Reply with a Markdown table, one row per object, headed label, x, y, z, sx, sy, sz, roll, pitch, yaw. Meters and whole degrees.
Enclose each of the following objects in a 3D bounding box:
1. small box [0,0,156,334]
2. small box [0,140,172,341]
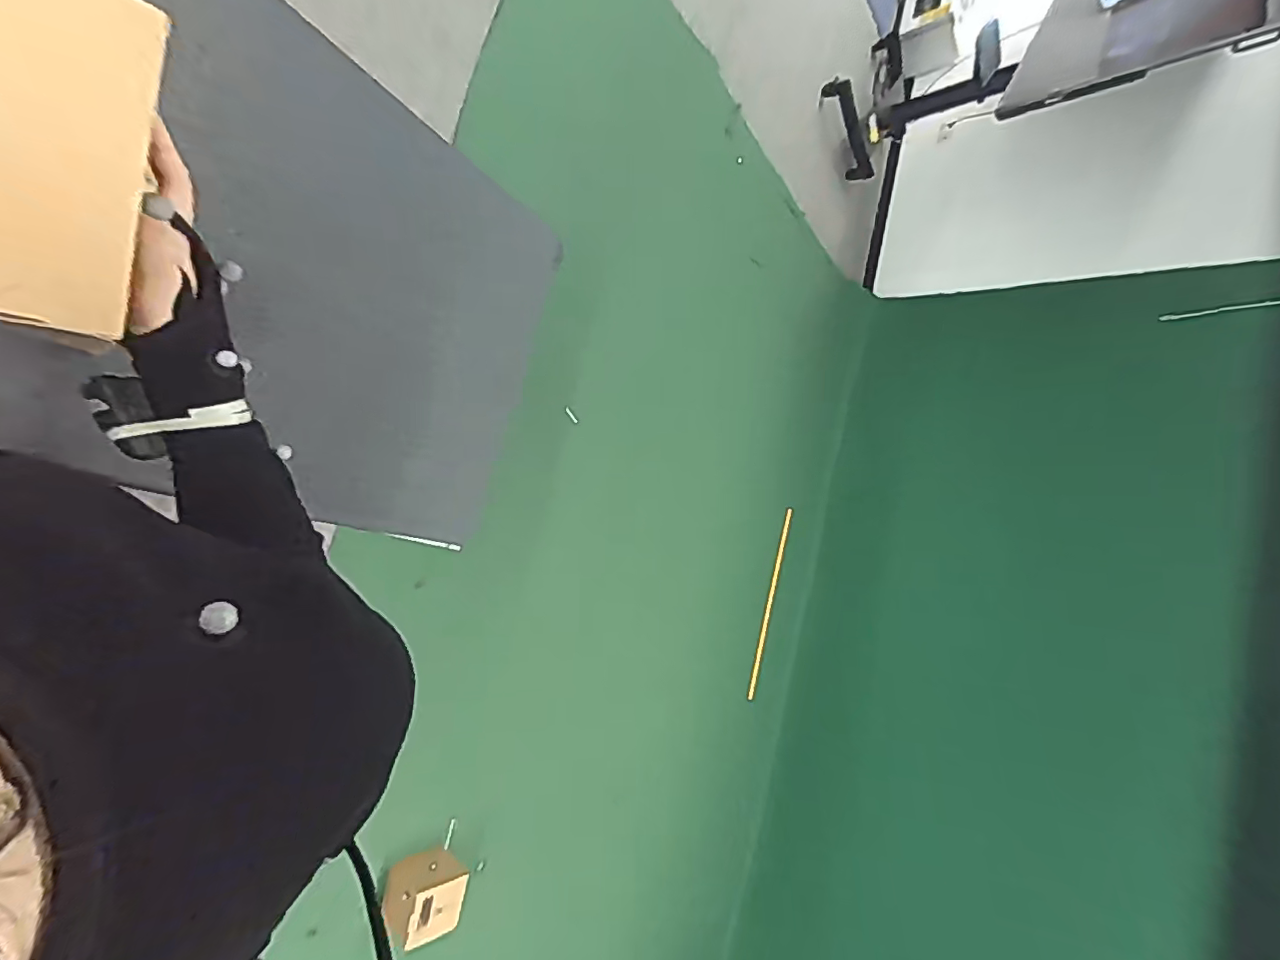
| label | x | y | z | sx | sy | sz | roll | pitch | yaw |
| --- | --- | --- | --- | --- | --- | --- | --- | --- | --- |
| small box | -0.382 | -0.198 | 0.275 | 0.168 | 0.176 | 0.179 | 5 | 110 | -51 |
| small box | -0.551 | -0.237 | 0.462 | 0.168 | 0.176 | 0.179 | 25 | 77 | -49 |
